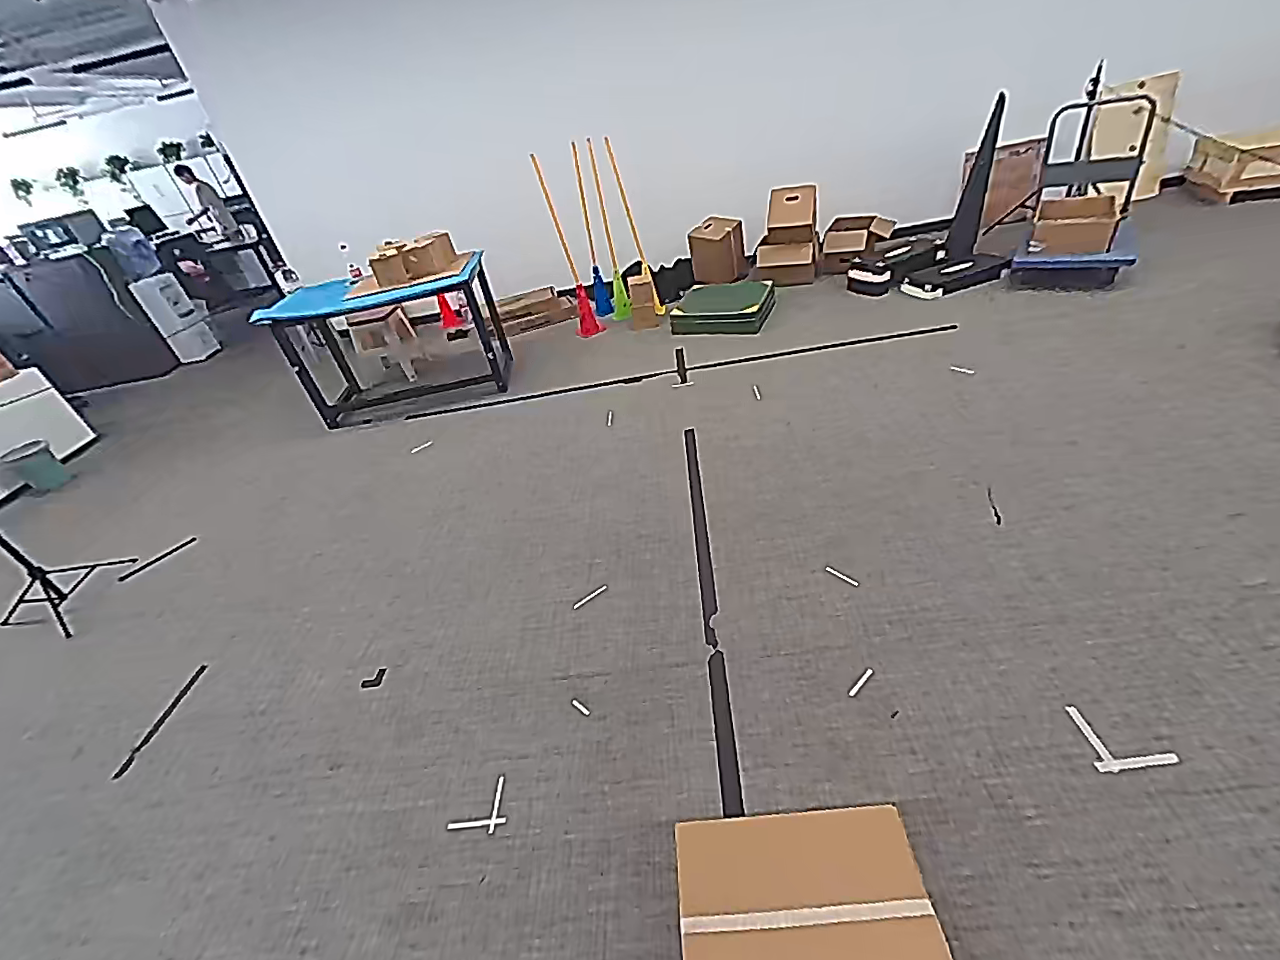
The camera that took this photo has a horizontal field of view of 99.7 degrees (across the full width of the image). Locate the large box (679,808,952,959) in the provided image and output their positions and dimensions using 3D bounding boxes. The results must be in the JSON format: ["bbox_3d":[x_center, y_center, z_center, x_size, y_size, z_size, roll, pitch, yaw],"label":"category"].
[{"bbox_3d":[0.298,0.832,0.958,0.408,0.320,0.320,-9,34,5],"label":"large box"}]
